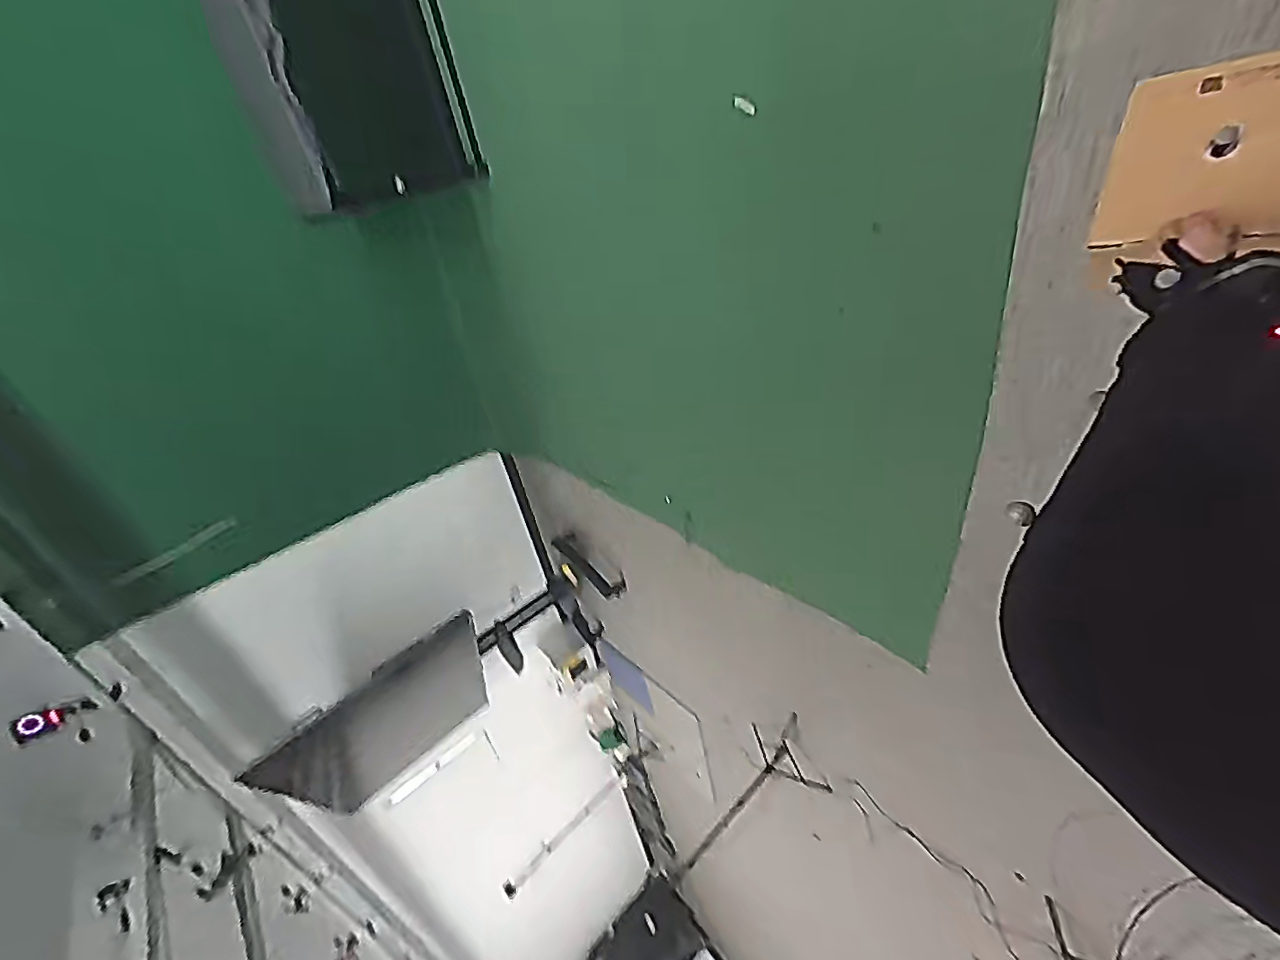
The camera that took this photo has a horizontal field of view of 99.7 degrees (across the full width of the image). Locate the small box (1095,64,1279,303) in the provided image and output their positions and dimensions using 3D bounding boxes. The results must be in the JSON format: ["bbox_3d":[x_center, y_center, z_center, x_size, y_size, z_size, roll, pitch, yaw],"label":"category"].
[{"bbox_3d":[0.605,-0.298,0.565,0.168,0.179,0.176,18,96,43],"label":"small box"}]
